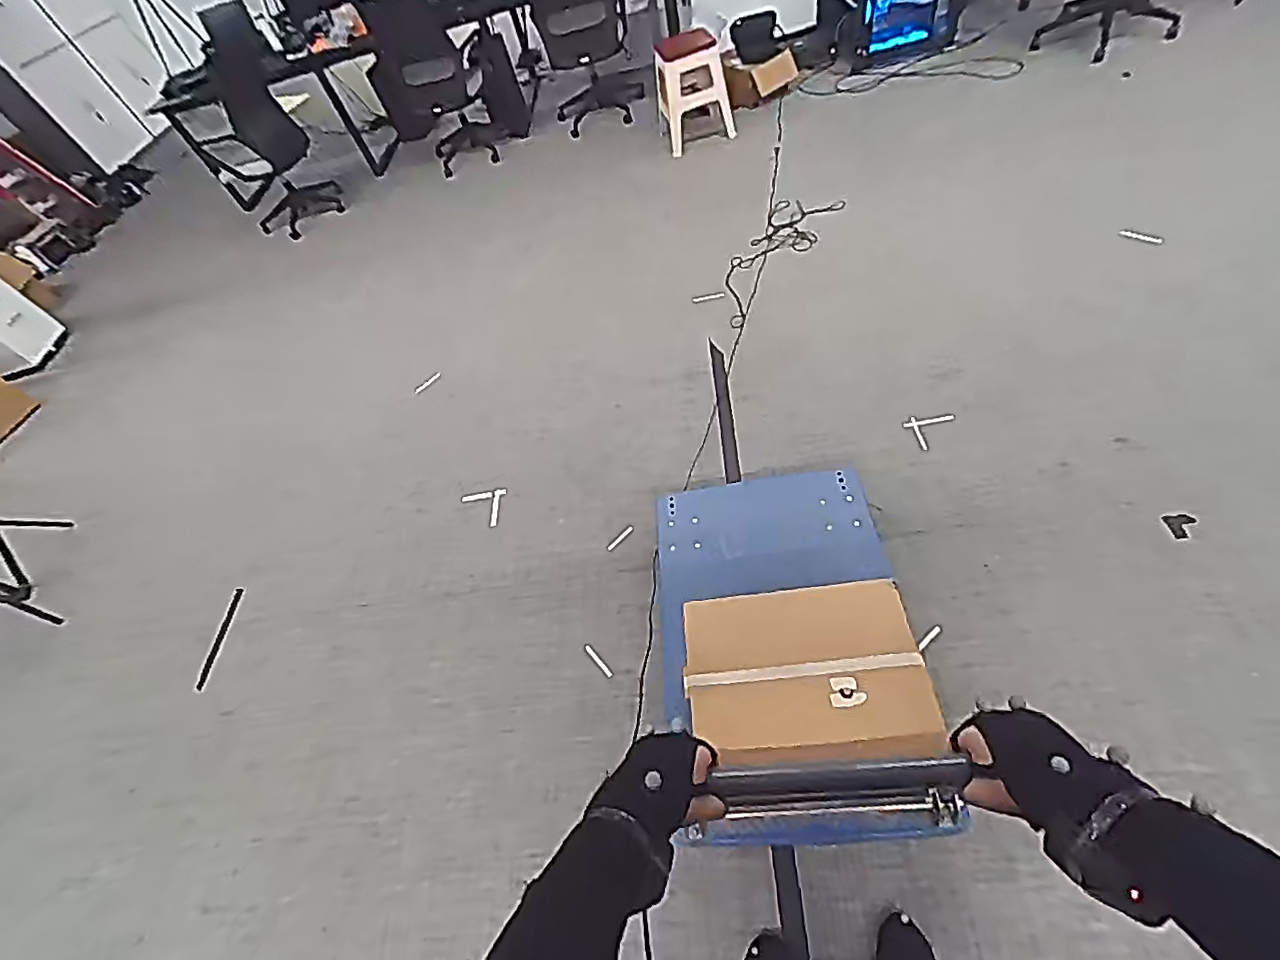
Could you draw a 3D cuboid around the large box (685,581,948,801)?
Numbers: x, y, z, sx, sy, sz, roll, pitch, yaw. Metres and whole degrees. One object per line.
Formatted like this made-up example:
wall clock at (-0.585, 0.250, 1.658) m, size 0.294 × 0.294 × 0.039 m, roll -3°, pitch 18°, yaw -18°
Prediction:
large box at (0.321, 0.435, 1.087) m, size 0.408 × 0.320 × 0.320 m, roll -9°, pitch 52°, yaw 9°
